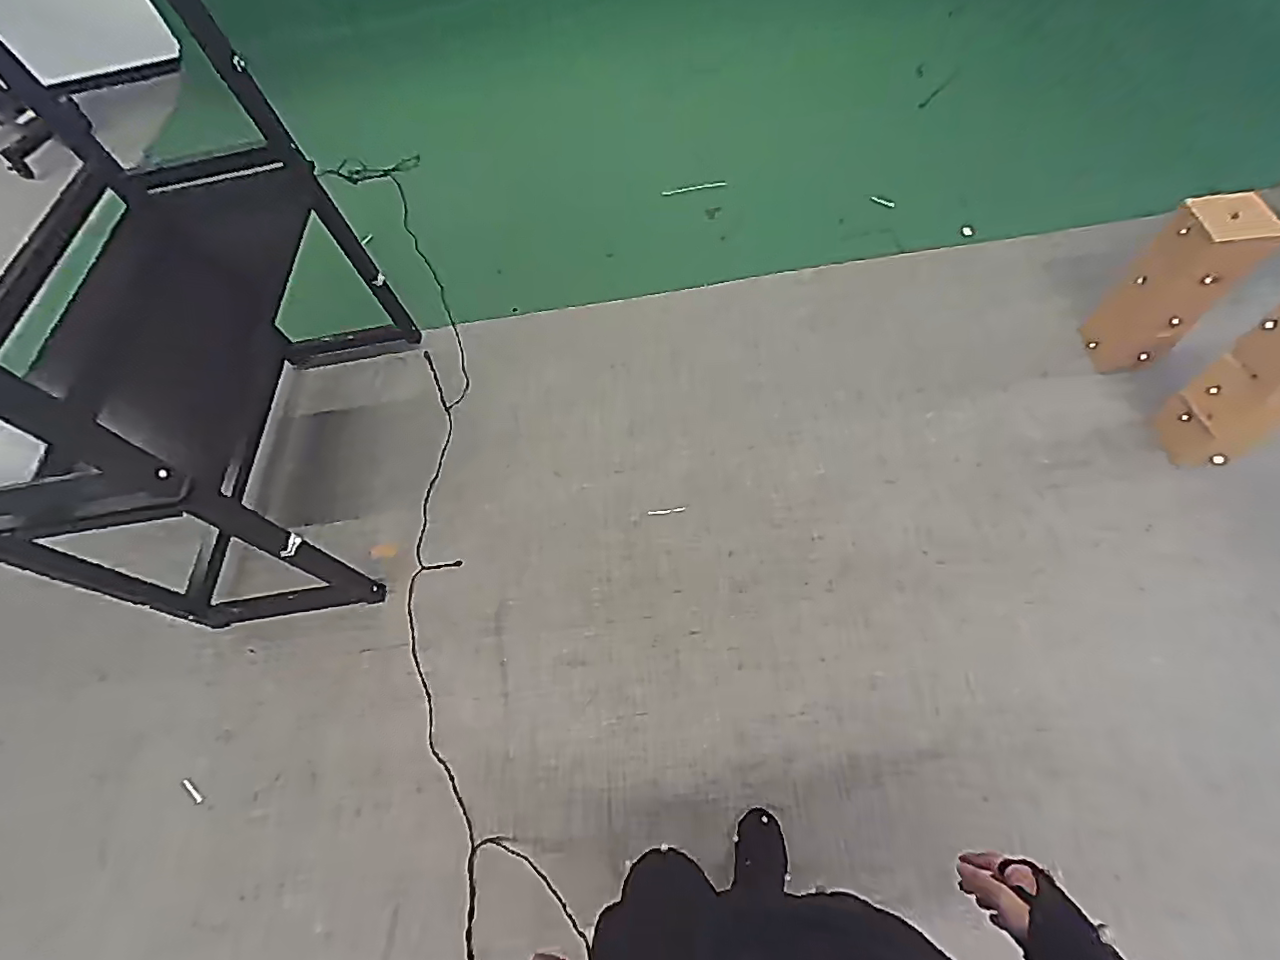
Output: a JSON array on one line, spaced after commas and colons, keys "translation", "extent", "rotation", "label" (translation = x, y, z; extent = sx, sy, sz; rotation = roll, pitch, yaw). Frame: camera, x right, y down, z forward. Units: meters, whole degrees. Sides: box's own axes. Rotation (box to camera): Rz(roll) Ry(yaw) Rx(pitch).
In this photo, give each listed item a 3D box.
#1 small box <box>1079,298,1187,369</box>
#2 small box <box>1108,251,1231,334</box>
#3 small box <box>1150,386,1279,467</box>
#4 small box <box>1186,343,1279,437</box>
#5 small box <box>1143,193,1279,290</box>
[{"translation": [1.578, -0.474, 1.744], "extent": [0.168, 0.176, 0.179], "rotation": [-5, 60, 6], "label": "small box"}, {"translation": [1.556, -0.562, 1.606], "extent": [0.168, 0.176, 0.179], "rotation": [-5, 60, 7], "label": "small box"}, {"translation": [1.640, -0.159, 1.553], "extent": [0.168, 0.176, 0.179], "rotation": [-7, 61, 5], "label": "small box"}, {"translation": [1.602, -0.231, 1.412], "extent": [0.179, 0.176, 0.168], "rotation": [-10, 59, 3], "label": "small box"}, {"translation": [1.535, -0.643, 1.467], "extent": [0.168, 0.176, 0.179], "rotation": [-3, 61, 8], "label": "small box"}]
